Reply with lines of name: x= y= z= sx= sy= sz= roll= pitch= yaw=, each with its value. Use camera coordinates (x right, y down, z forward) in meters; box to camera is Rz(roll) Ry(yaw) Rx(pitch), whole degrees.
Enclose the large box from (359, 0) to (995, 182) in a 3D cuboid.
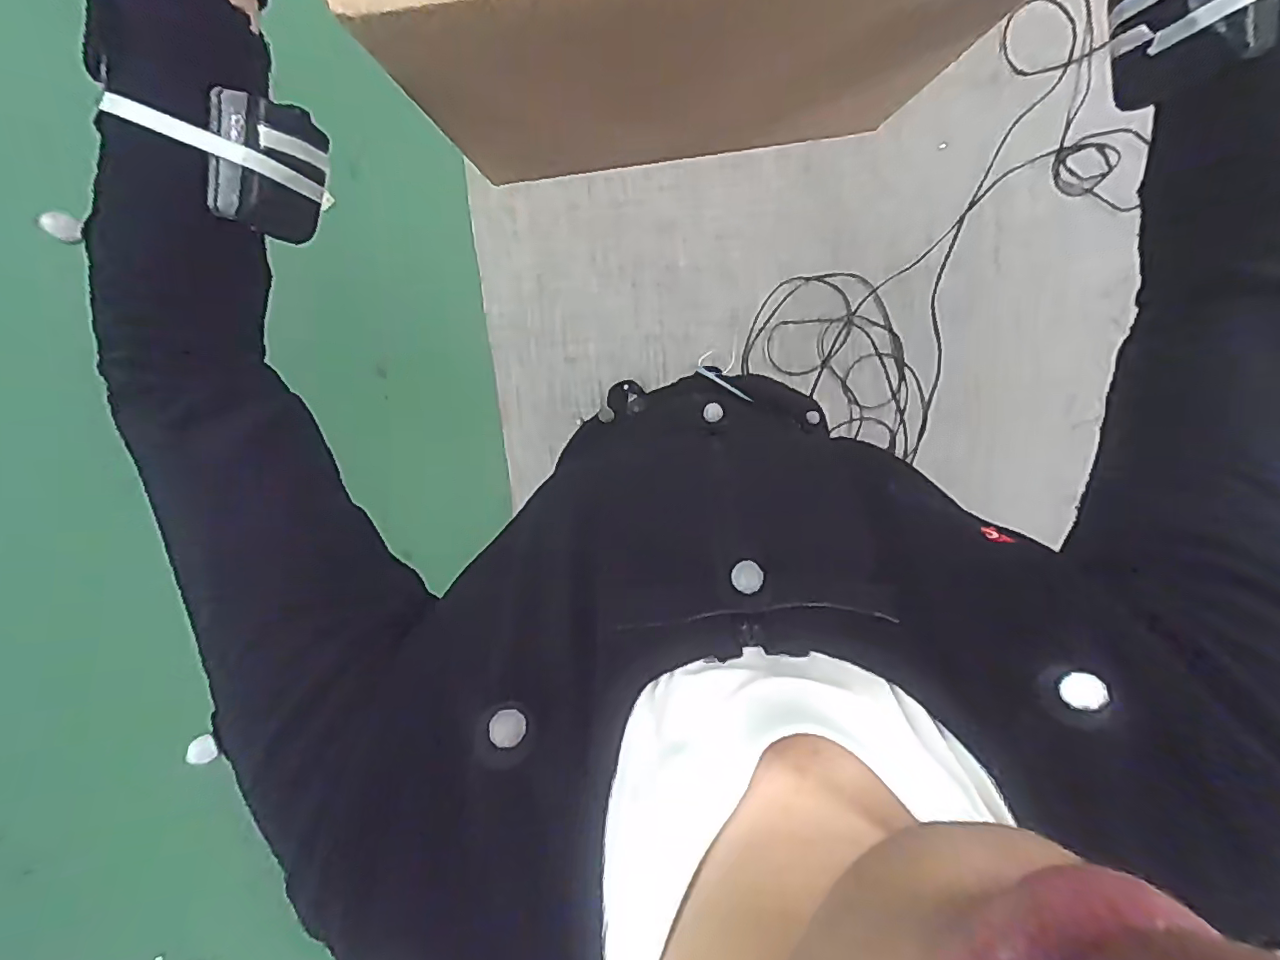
large box: x=0.023 y=-0.448 z=0.382 sx=0.408 sy=0.320 sz=0.320 roll=-8 pitch=104 yaw=0
